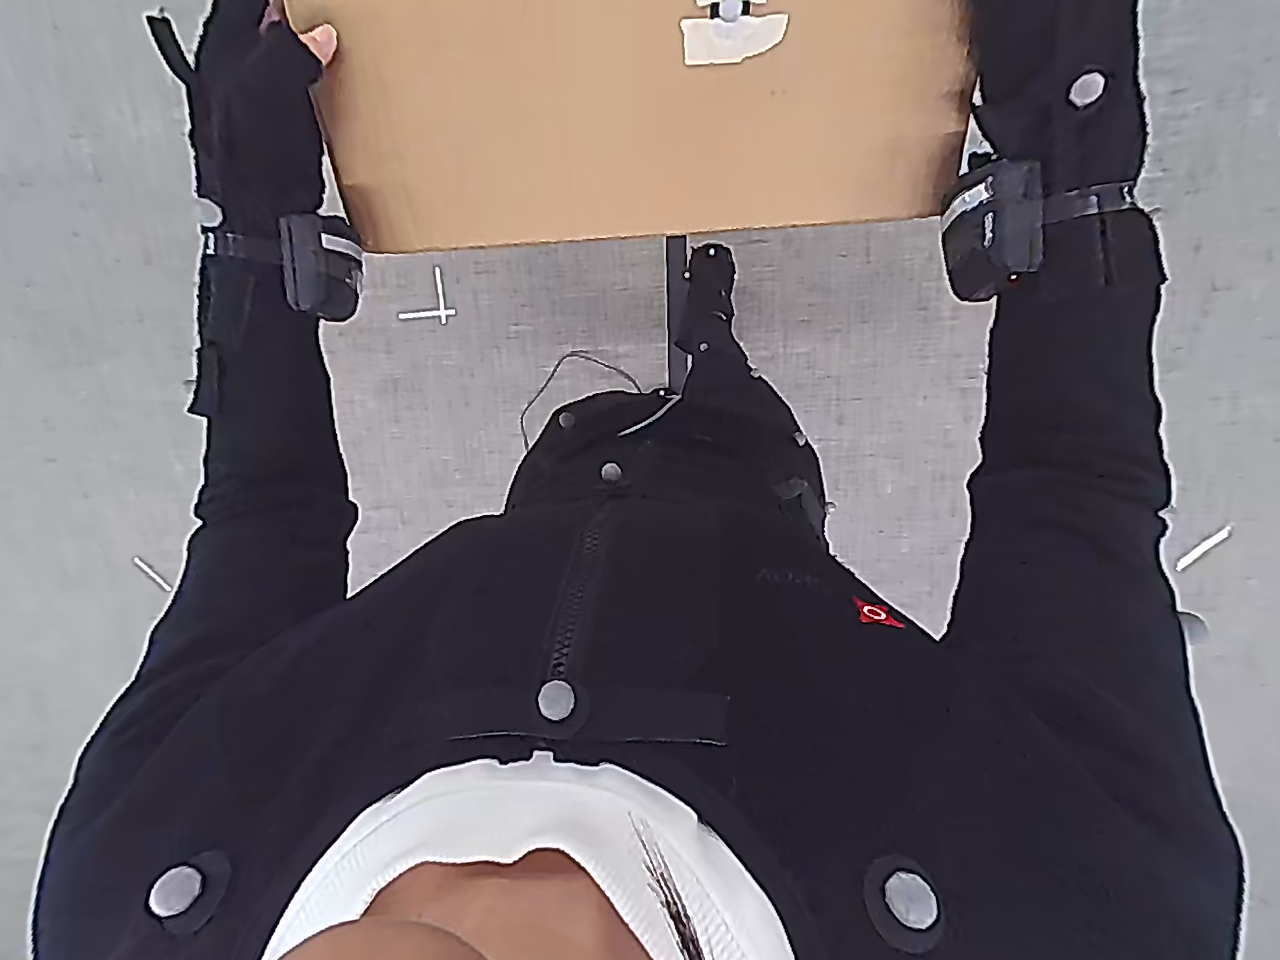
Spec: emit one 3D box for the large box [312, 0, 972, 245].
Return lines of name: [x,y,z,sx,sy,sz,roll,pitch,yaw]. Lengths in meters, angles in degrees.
large box: [0.004,-0.386,0.440,0.408,0.320,0.320,-1,118,8]
